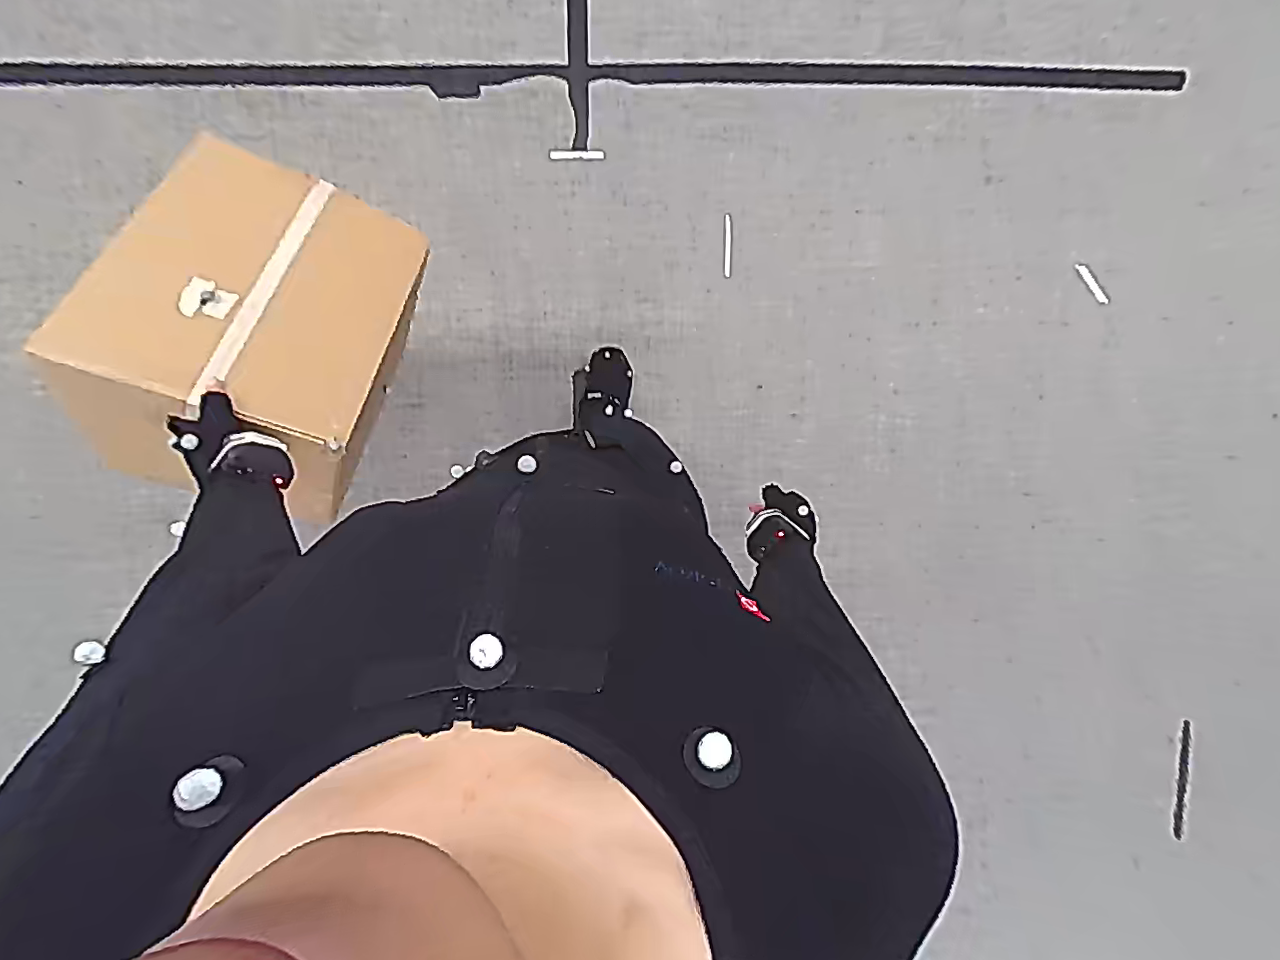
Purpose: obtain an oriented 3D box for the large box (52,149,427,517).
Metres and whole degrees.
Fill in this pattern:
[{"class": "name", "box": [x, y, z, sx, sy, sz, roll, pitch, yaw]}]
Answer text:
[{"class": "large box", "box": [-0.569, -0.206, 0.861, 0.320, 0.320, 0.408, 19, 59, -21]}]
